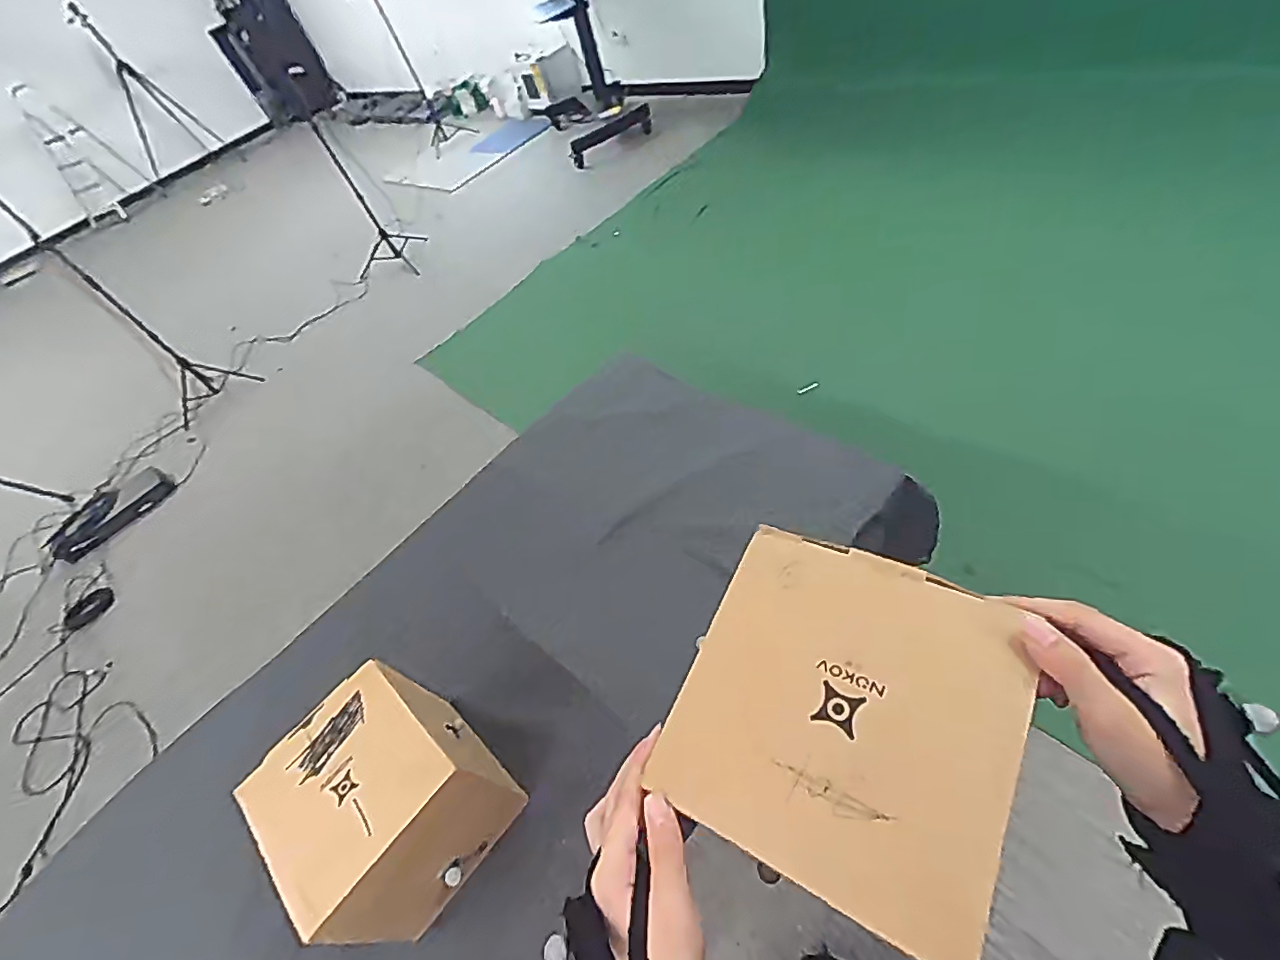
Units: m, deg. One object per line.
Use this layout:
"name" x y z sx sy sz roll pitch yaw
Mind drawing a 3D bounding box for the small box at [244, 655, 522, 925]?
"small box" -0.261 0.328 0.575 0.179 0.176 0.168 29 65 34

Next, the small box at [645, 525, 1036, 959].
"small box" 0.130 0.162 0.362 0.168 0.176 0.179 17 66 28
